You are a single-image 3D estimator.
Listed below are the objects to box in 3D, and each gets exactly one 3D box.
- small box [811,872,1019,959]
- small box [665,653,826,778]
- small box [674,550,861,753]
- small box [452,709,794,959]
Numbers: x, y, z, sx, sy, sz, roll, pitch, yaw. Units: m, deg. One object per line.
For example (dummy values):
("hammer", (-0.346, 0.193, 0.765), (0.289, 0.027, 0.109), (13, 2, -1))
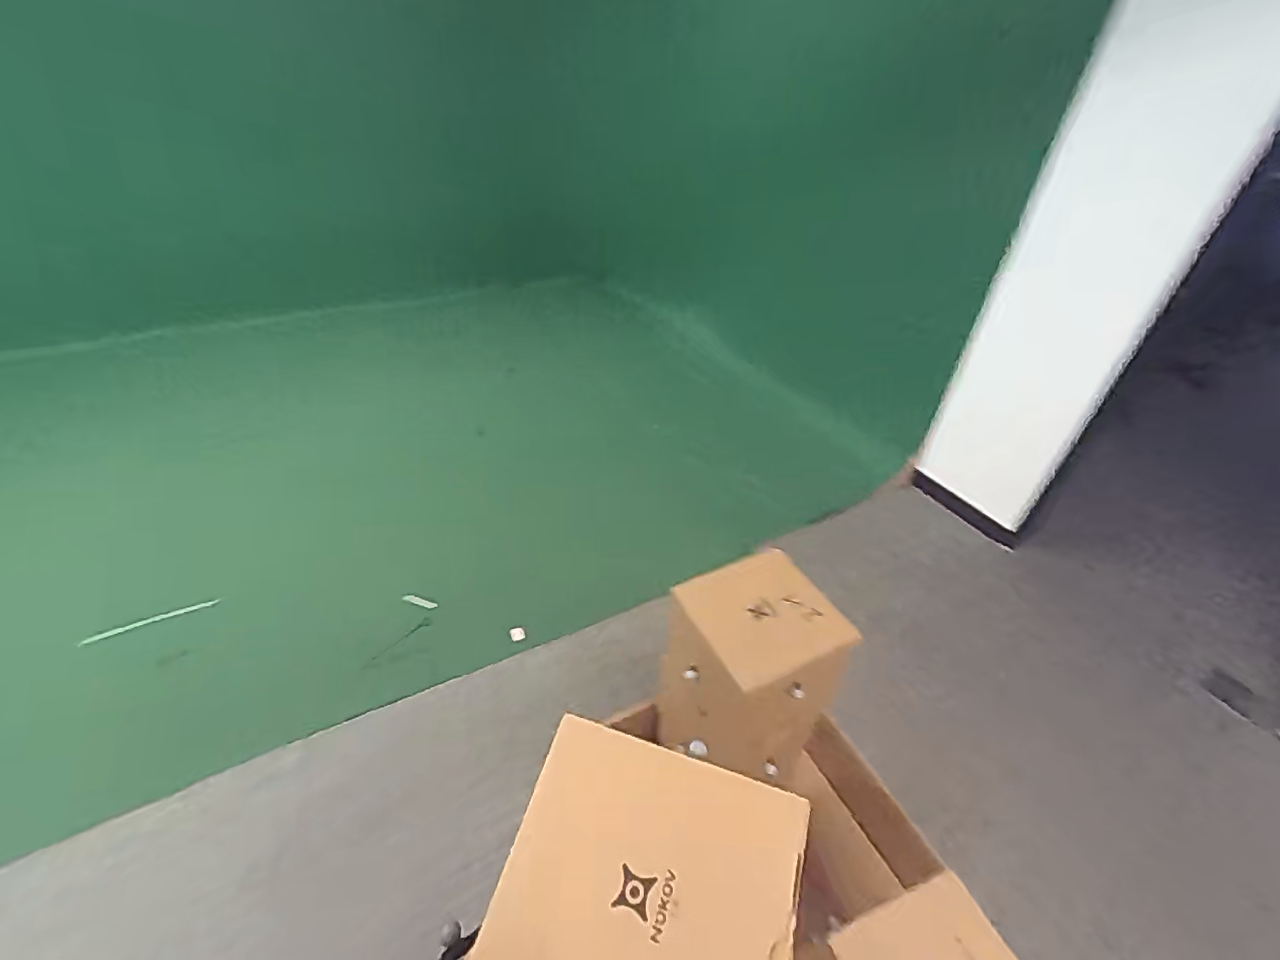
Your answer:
("small box", (0.303, 0.567, 0.576), (0.179, 0.176, 0.168), (-12, 42, -16))
("small box", (0.151, 0.356, 0.834), (0.168, 0.176, 0.179), (-17, 43, -22))
("small box", (0.158, 0.229, 0.728), (0.179, 0.176, 0.168), (-16, 42, -20))
("small box", (0.001, 0.293, 0.391), (0.179, 0.176, 0.168), (12, 57, 14))
